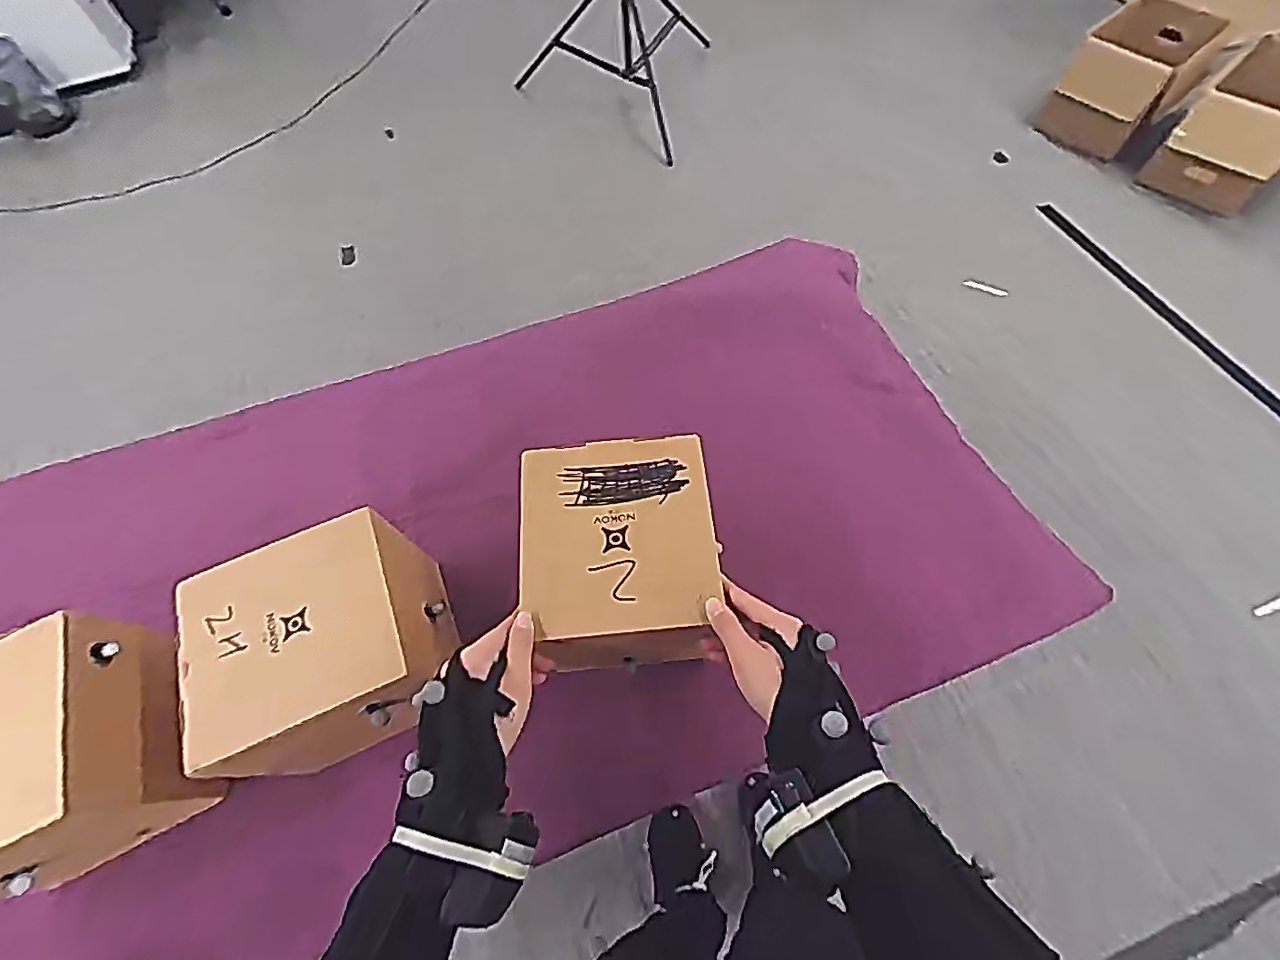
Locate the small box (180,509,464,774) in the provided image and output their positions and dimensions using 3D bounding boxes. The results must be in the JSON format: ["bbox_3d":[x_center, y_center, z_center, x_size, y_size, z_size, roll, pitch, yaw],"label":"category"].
[{"bbox_3d":[-0.288,0.160,0.523,0.179,0.176,0.168,-24,63,-9],"label":"small box"}]

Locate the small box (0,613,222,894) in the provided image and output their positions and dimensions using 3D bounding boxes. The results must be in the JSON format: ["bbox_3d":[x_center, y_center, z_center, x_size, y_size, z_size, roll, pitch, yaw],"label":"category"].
[{"bbox_3d":[-0.526,0.252,0.495,0.168,0.176,0.179,-26,63,-10],"label":"small box"}]
